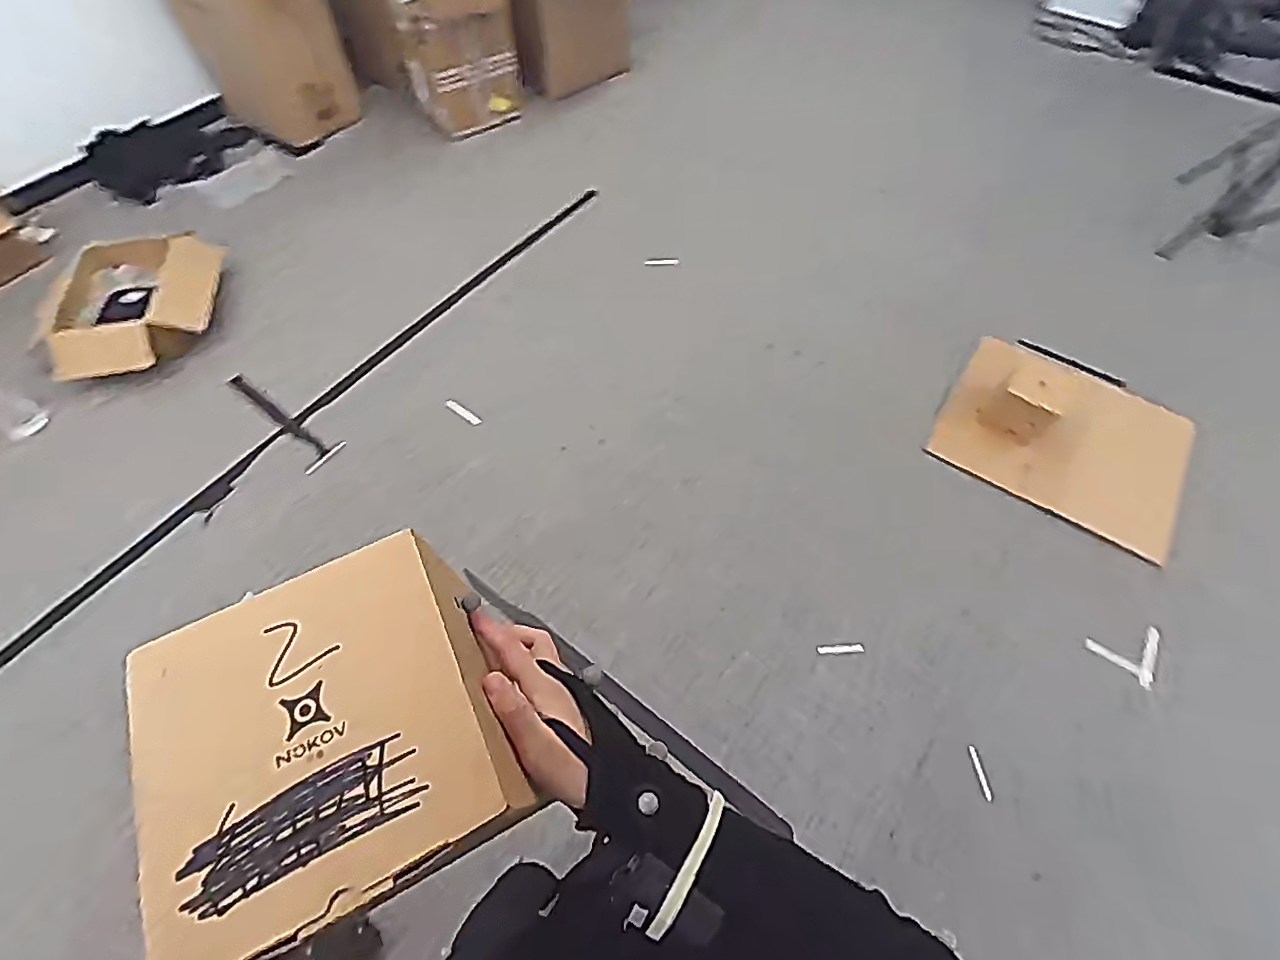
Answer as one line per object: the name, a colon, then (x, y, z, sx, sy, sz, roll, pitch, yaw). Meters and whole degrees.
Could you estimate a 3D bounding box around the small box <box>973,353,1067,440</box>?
small box: (1.195, -0.259, 1.715, 0.168, 0.176, 0.179, 32, 65, 15)
